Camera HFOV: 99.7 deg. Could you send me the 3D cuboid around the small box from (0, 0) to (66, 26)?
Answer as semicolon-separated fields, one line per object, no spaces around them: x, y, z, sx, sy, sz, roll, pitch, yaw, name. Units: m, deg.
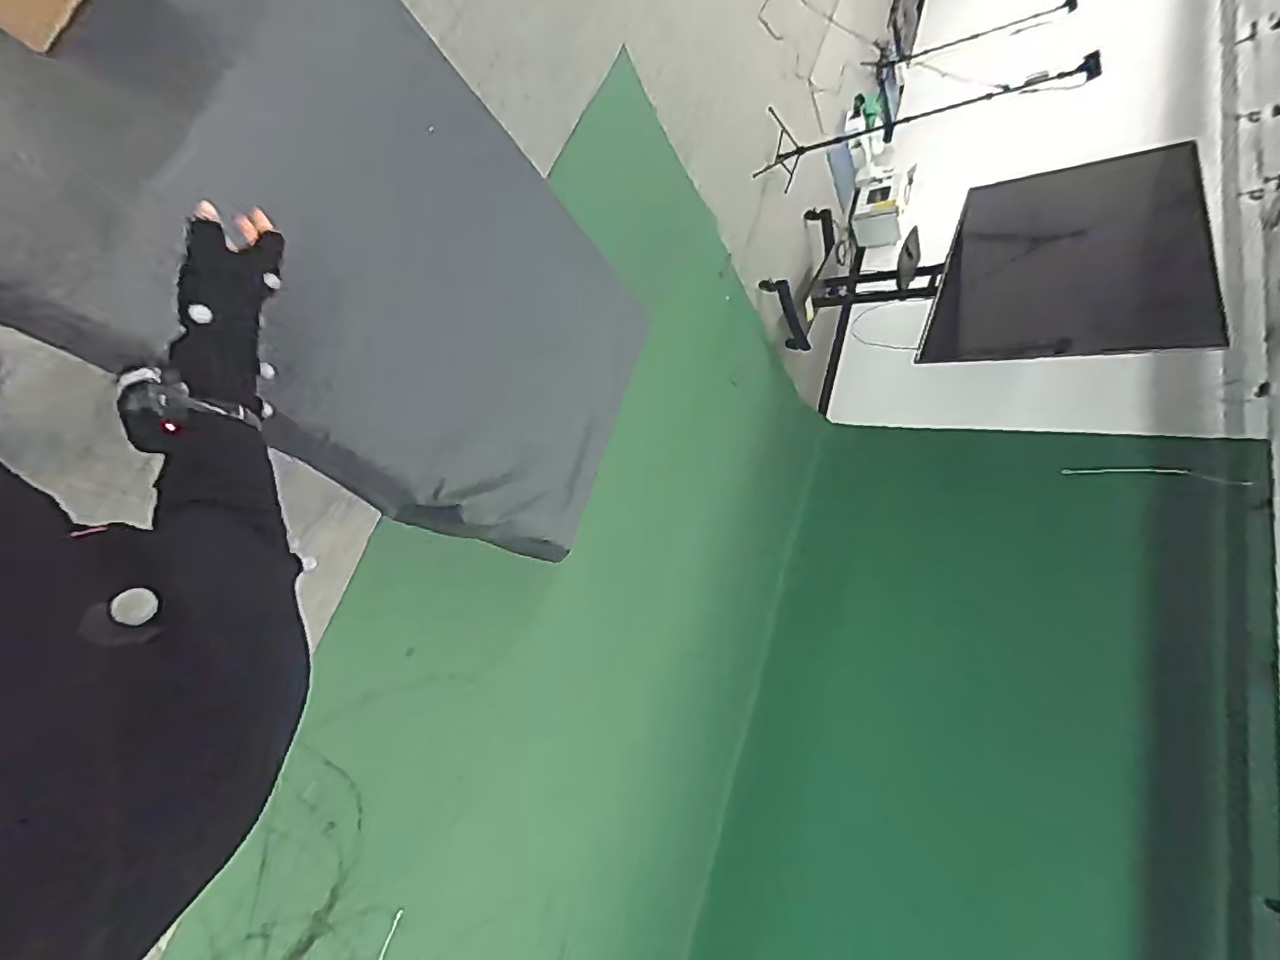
-0.524;-0.498;0.411;0.179;0.176;0.168;34;67;-52;small box
